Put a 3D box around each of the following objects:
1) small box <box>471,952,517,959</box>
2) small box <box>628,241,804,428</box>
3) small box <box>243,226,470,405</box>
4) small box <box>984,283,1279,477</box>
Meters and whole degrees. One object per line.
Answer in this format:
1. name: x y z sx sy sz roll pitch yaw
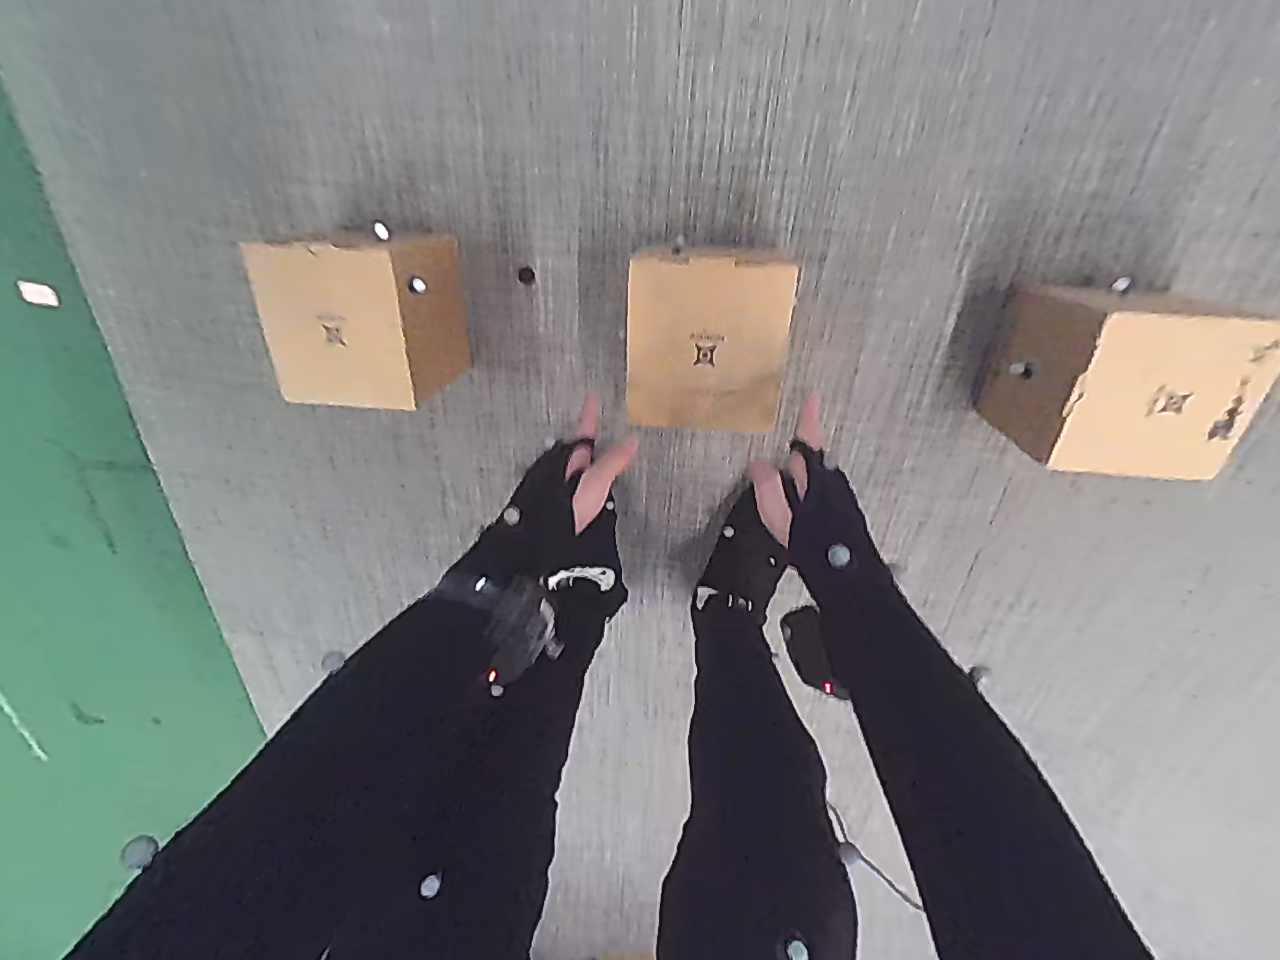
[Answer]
1. small box: -0.414 1.481 1.532 0.168 0.176 0.179 2 118 6
2. small box: 0.079 -0.176 0.624 0.168 0.176 0.179 5 118 5
3. small box: -0.319 -0.205 0.654 0.168 0.176 0.179 4 116 5
4. small box: 0.527 -0.120 0.602 0.179 0.176 0.168 6 118 5
